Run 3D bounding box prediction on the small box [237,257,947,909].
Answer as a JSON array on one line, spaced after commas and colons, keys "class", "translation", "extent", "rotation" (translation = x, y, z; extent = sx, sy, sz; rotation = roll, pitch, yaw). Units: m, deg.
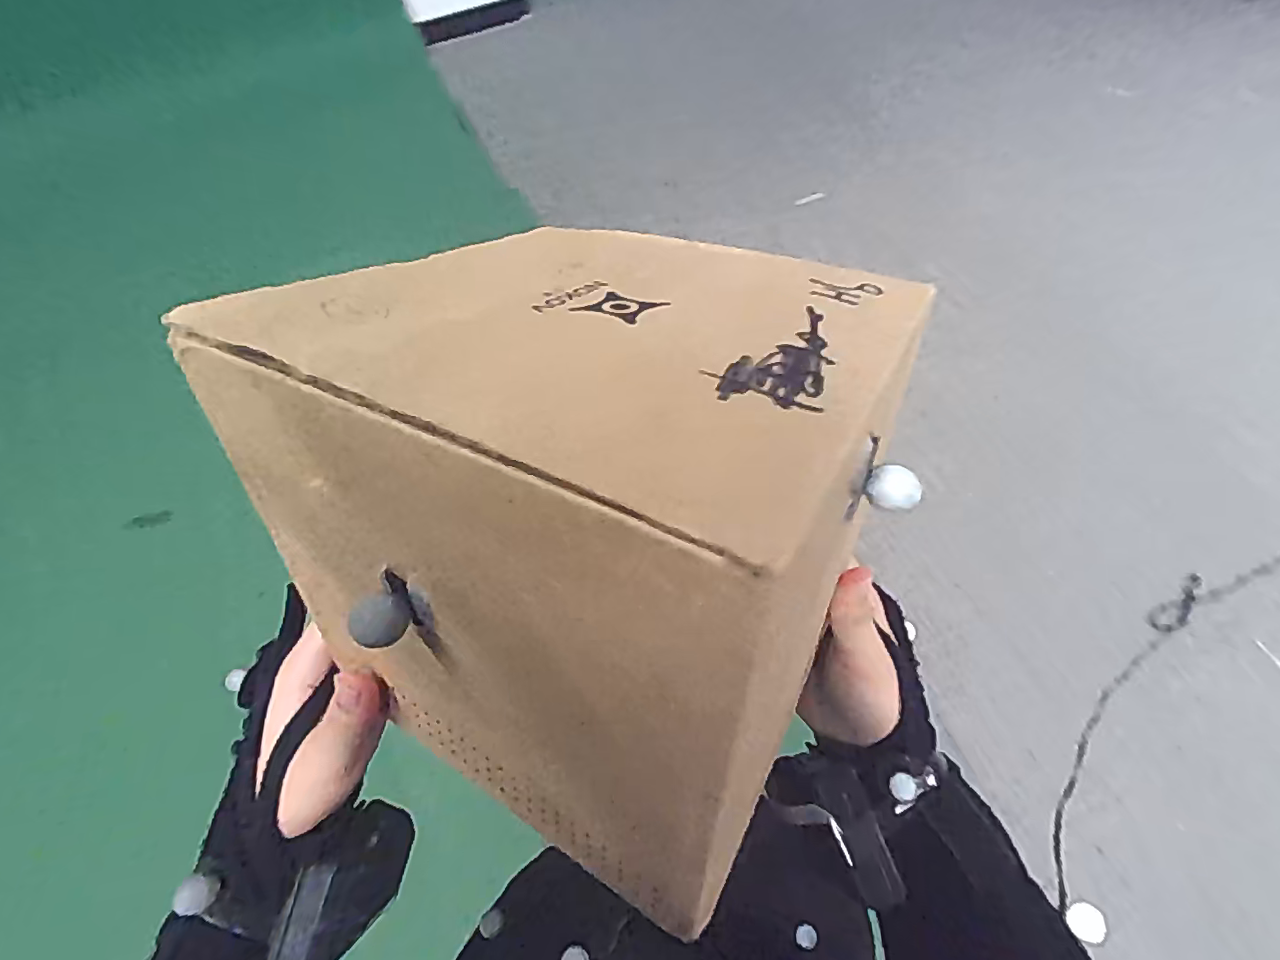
[{"class": "small box", "translation": [-0.005, 0.021, 0.221], "extent": [0.179, 0.176, 0.168], "rotation": [19, 40, 25]}]
